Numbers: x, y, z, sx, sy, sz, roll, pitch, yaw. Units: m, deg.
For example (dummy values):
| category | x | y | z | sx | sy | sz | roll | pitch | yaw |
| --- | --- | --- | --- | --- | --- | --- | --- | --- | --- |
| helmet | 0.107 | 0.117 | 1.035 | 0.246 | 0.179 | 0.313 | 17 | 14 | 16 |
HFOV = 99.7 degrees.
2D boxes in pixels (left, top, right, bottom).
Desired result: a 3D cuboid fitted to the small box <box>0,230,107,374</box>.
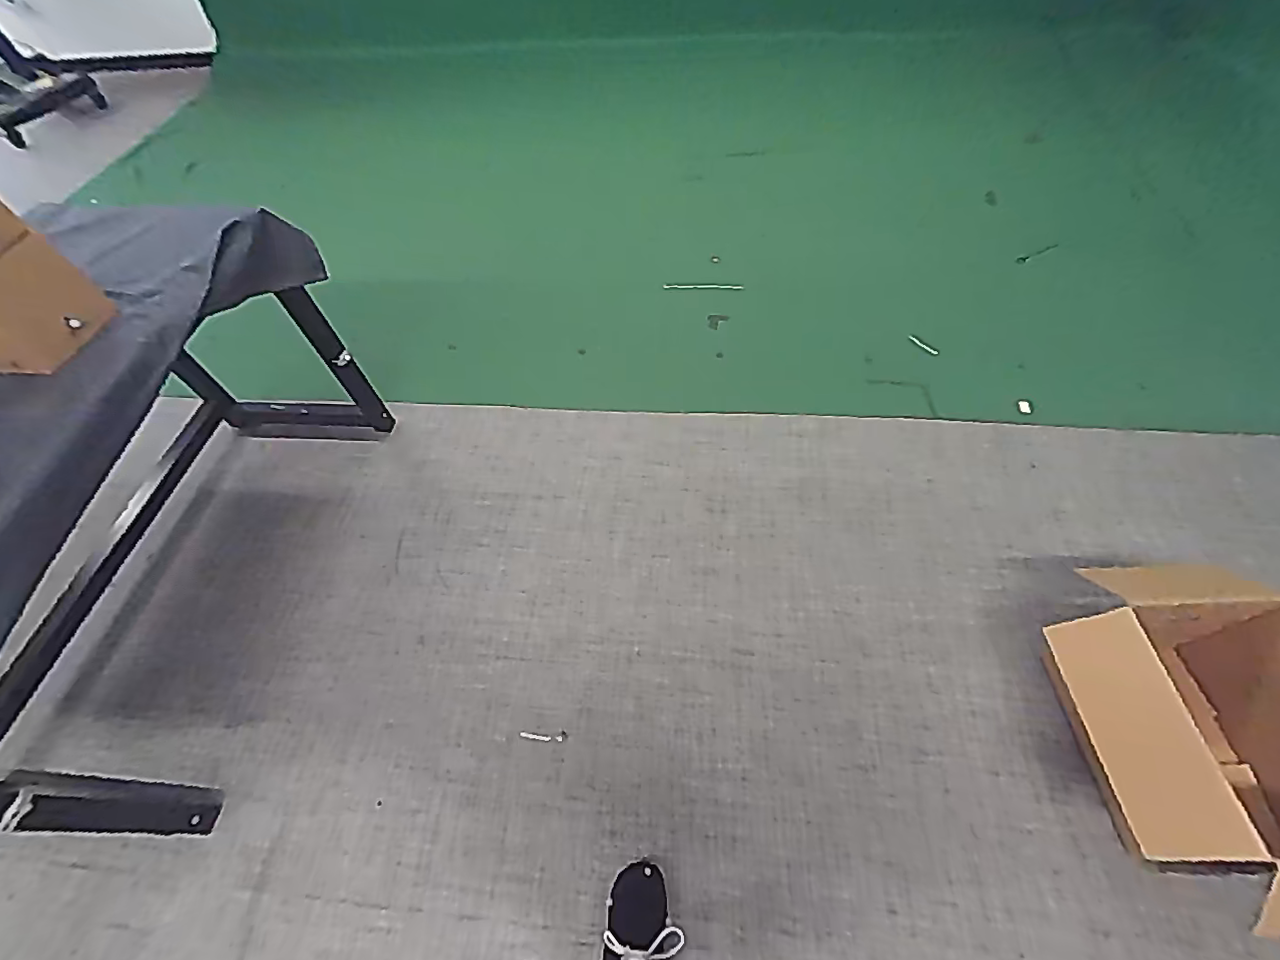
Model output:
| category | x | y | z | sx | sy | sz | roll | pitch | yaw |
| --- | --- | --- | --- | --- | --- | --- | --- | --- | --- |
| small box | -1.094 | -0.307 | 0.931 | 0.168 | 0.176 | 0.179 | 3 | 56 | 6 |
